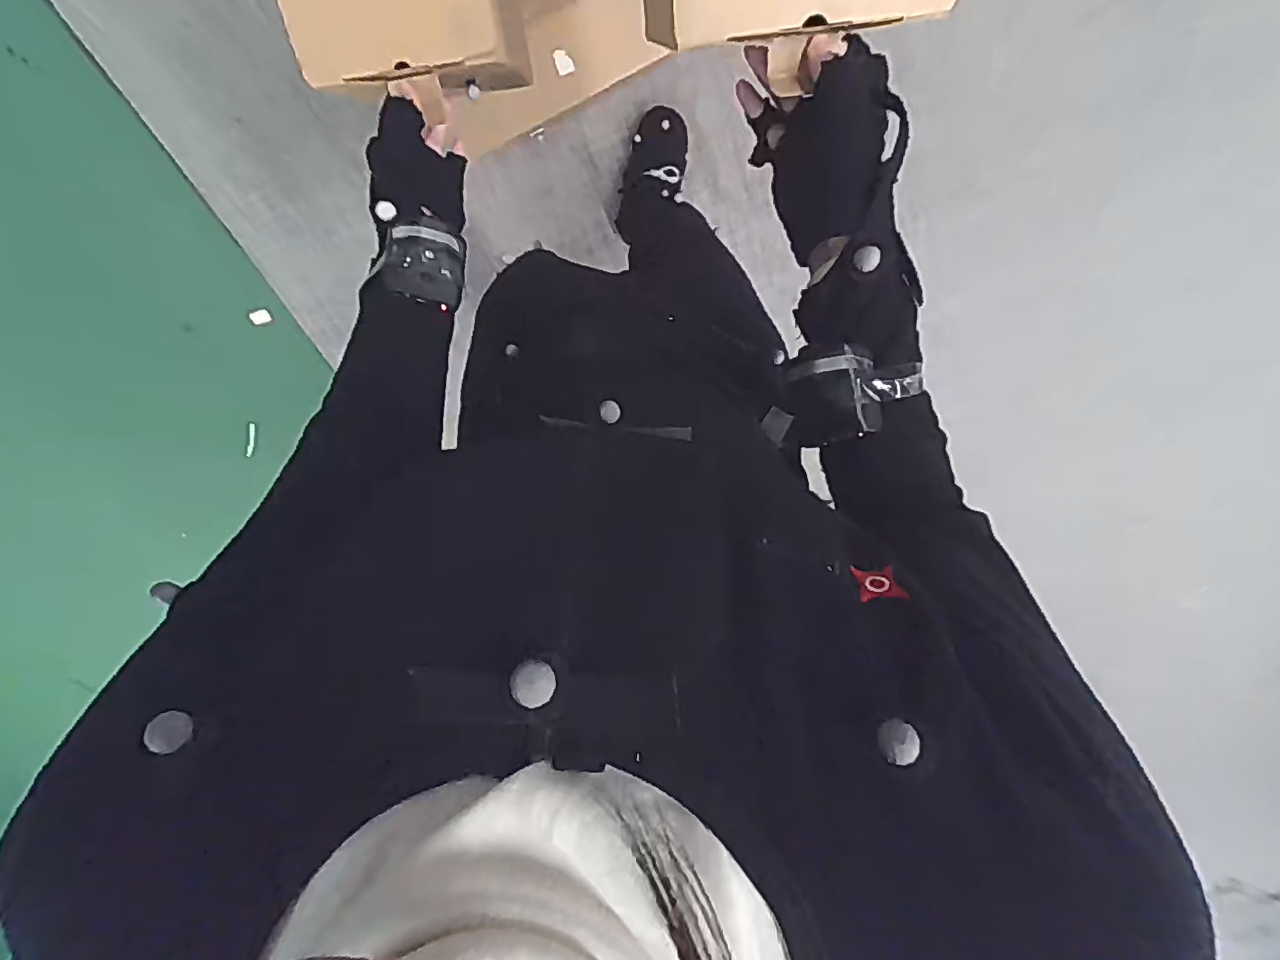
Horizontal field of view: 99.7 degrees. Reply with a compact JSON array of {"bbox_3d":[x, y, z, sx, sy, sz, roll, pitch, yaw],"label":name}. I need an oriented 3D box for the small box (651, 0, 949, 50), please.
[{"bbox_3d":[0.088,-0.384,0.325,0.168,0.176,0.179,-8,131,0],"label":"small box"}]

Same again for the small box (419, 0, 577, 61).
[{"bbox_3d":[-0.185,-0.644,0.663,0.179,0.176,0.168,-14,128,7],"label":"small box"}]
